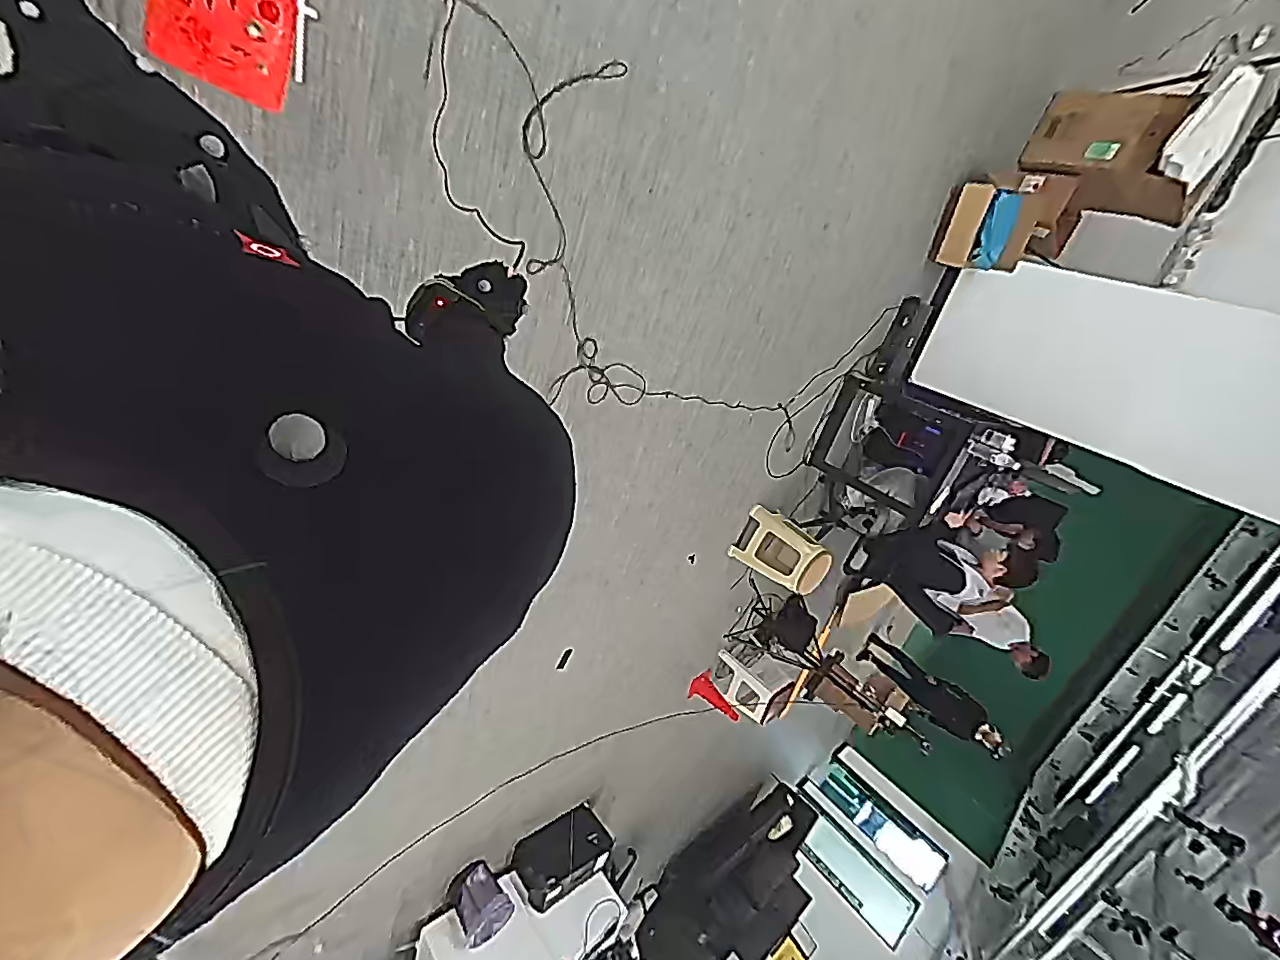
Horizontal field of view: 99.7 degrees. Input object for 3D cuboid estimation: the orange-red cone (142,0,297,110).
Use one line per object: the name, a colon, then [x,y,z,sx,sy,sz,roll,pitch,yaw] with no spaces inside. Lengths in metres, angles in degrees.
orange-red cone: [-0.618,-0.717,0.835,0.199,0.360,0.198,7,112,-47]
